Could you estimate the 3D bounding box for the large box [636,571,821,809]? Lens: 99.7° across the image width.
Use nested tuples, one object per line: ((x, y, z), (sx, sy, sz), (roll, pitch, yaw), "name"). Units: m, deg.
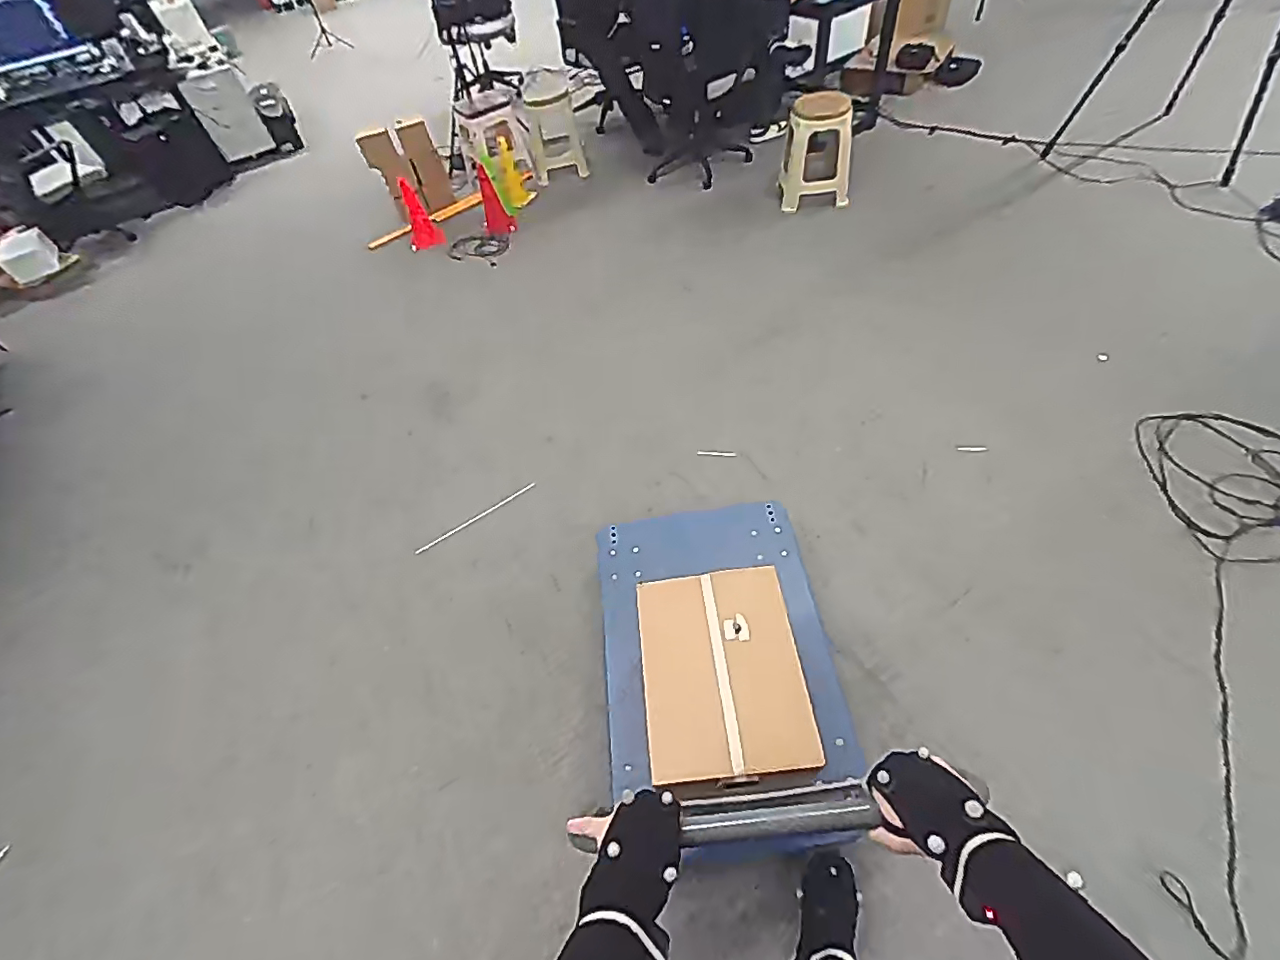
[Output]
((0.181, 0.473, 1.217), (0.320, 0.320, 0.408), (-8, 51, 3), "large box")
